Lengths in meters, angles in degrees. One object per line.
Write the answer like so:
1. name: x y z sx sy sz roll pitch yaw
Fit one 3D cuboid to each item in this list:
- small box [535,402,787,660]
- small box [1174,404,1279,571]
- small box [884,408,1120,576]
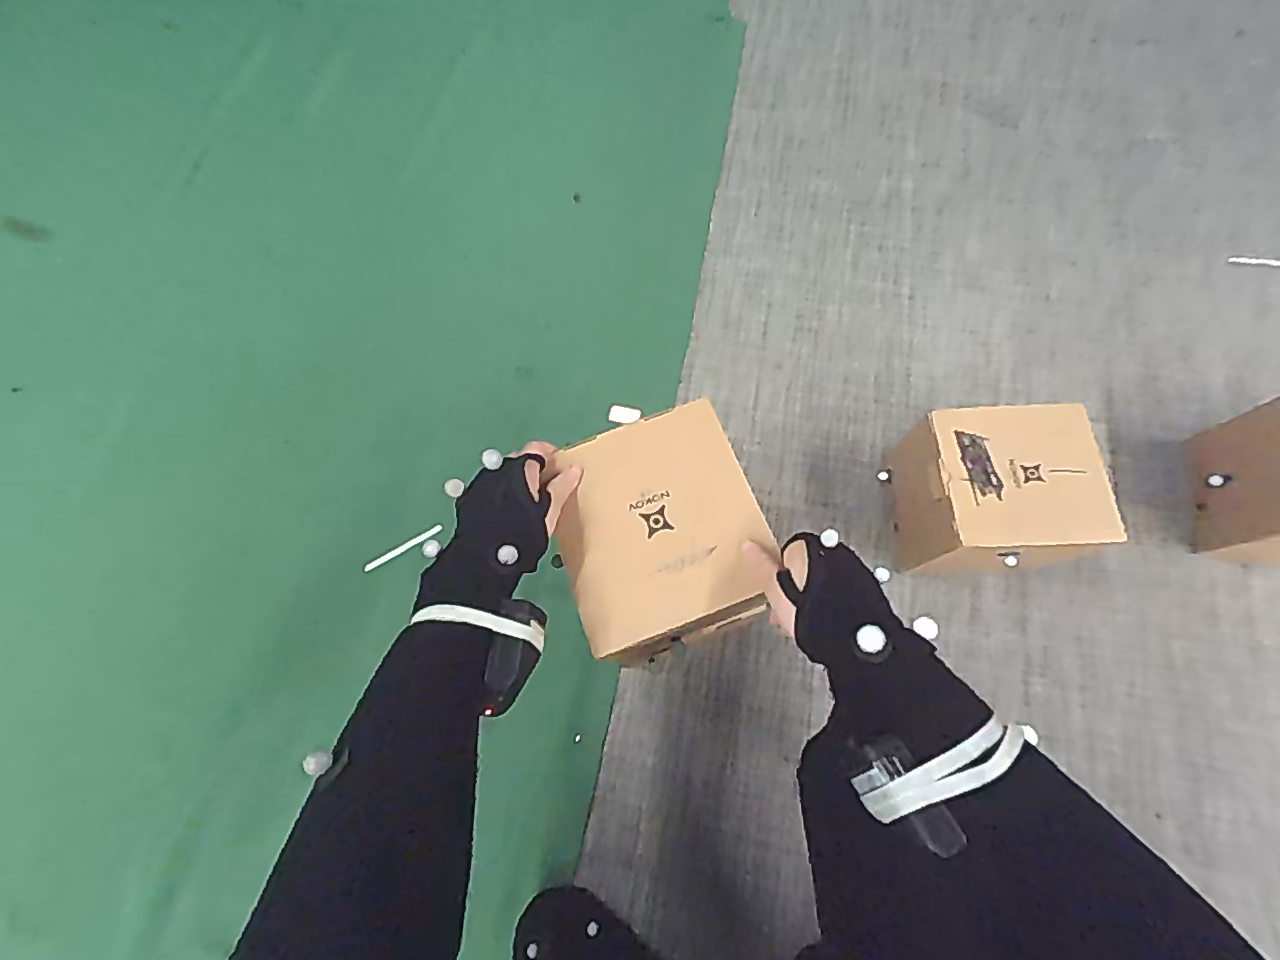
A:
1. small box: 0.016 0.059 0.519 0.168 0.176 0.179 -20 70 -3
2. small box: 0.823 0.011 0.659 0.179 0.176 0.168 9 70 7
3. small box: 0.426 0.024 0.678 0.179 0.176 0.168 -2 70 2
